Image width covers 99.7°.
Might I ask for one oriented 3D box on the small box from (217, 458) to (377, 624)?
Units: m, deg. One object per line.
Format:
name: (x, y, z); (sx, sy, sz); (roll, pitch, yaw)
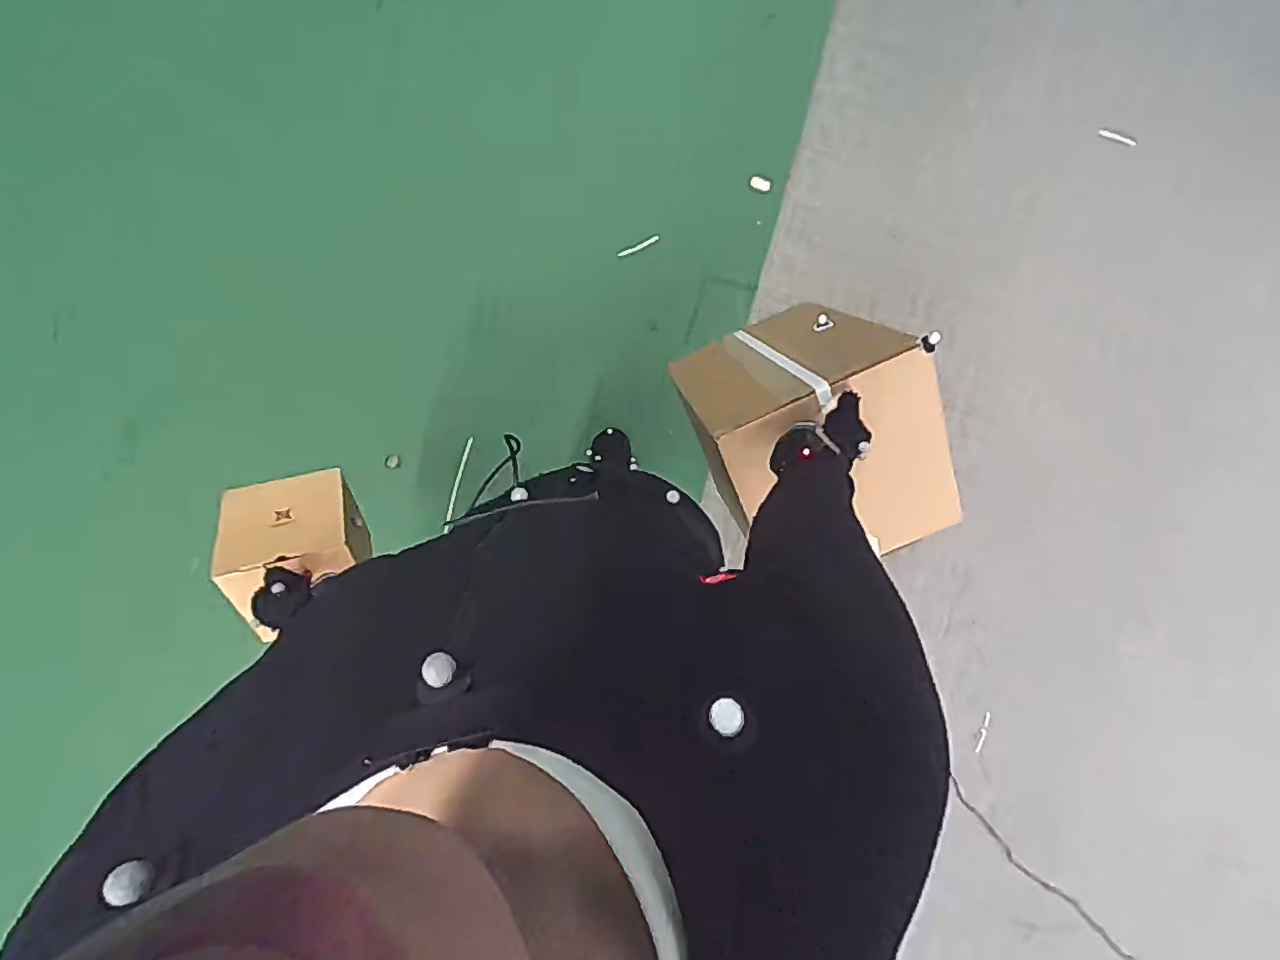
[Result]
small box: (-0.534, 0.095, 0.862); (0.168, 0.179, 0.176); (-15, 138, -20)
